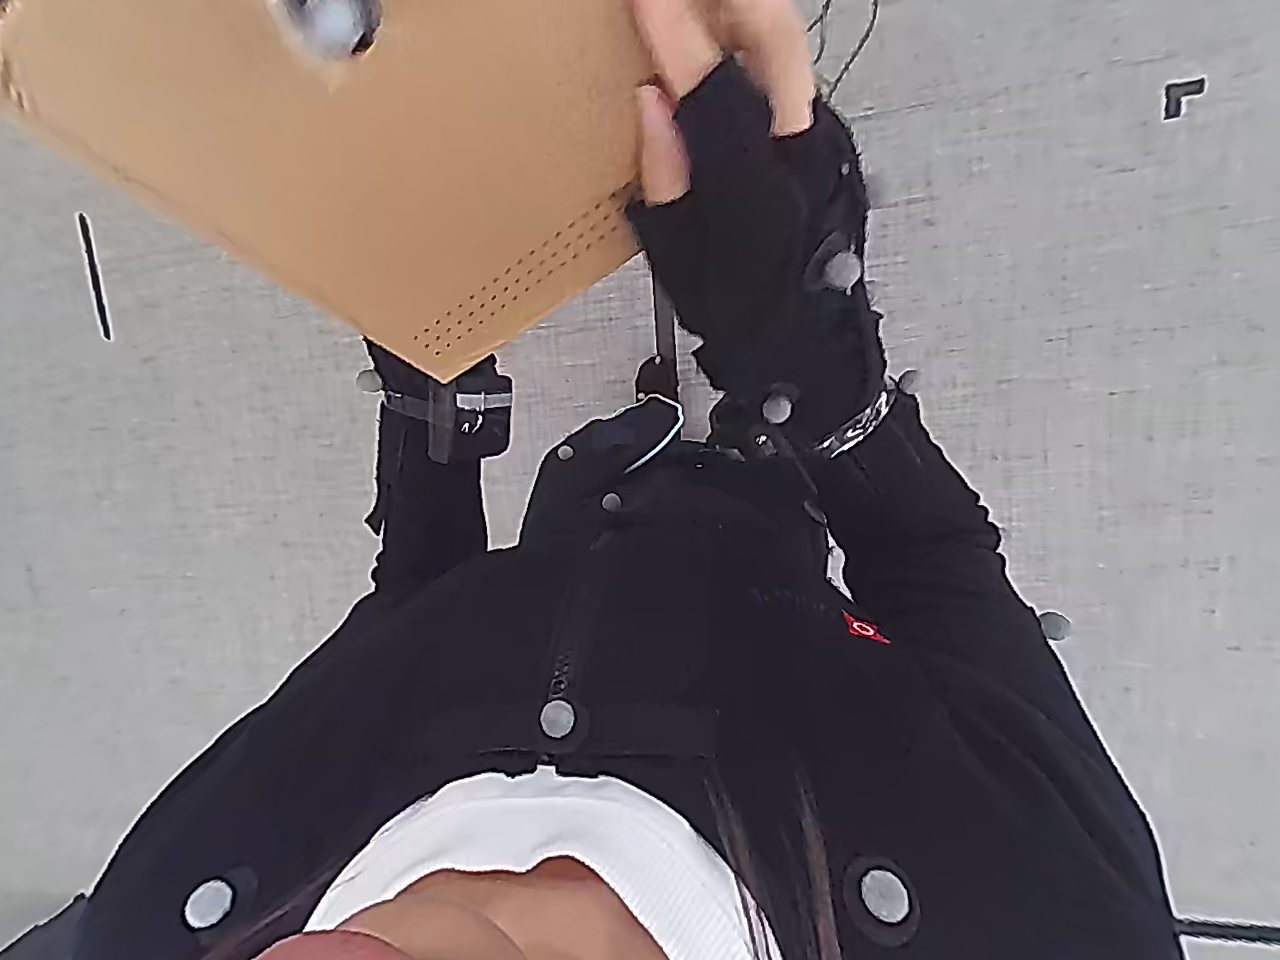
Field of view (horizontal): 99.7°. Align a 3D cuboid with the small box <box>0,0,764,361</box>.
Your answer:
[{"bbox_3d":[-0.075,-0.180,0.212,0.179,0.176,0.168,-29,63,13],"label":"small box"}]
